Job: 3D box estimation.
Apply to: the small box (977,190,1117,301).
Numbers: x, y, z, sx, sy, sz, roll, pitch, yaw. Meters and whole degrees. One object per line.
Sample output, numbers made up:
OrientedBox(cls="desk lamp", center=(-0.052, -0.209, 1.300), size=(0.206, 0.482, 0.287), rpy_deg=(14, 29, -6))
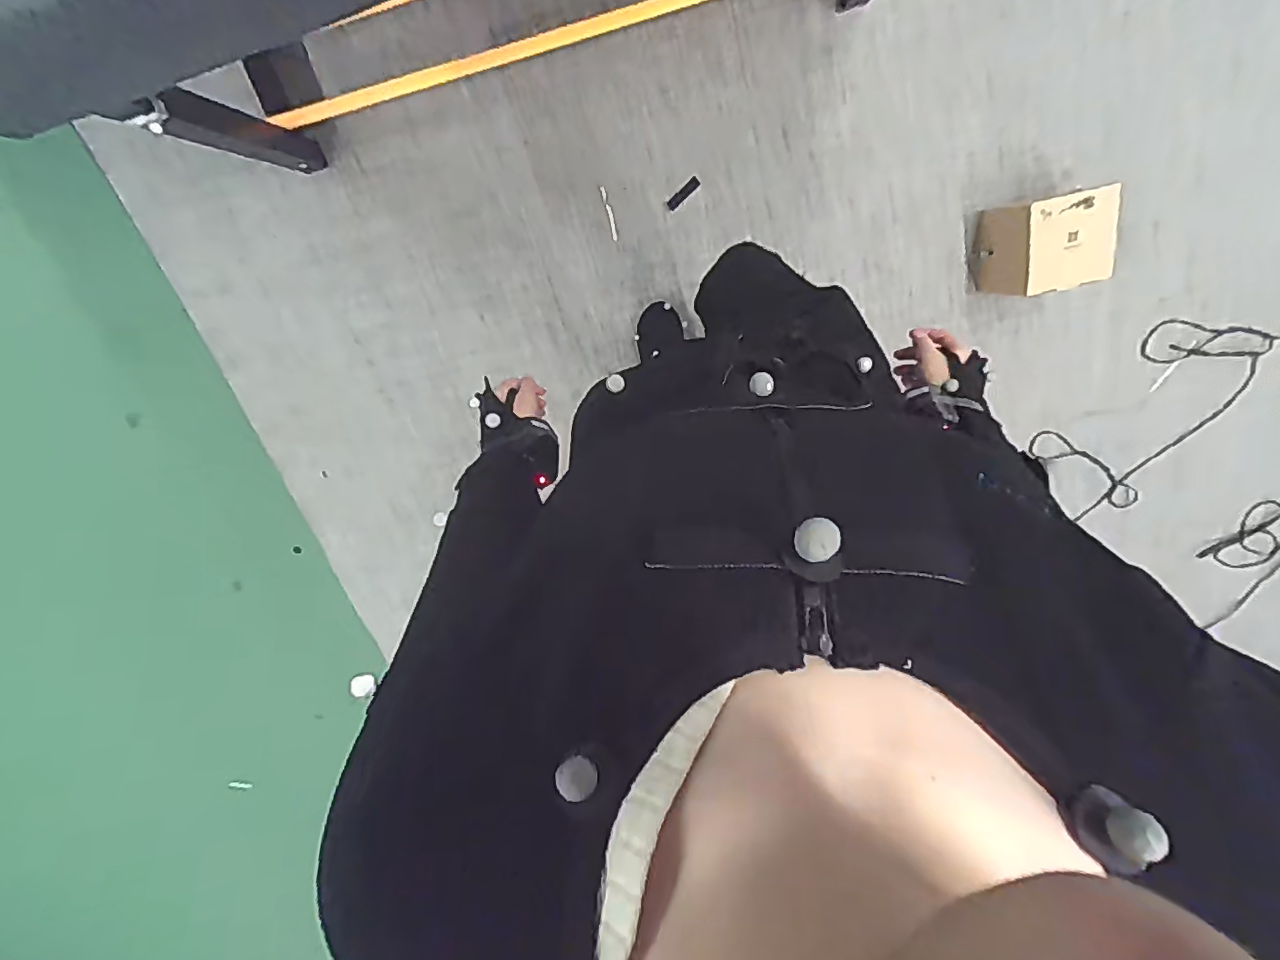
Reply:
OrientedBox(cls="small box", center=(0.834, -0.487, 1.128), size=(0.168, 0.176, 0.179), rpy_deg=(-11, 112, 4))
